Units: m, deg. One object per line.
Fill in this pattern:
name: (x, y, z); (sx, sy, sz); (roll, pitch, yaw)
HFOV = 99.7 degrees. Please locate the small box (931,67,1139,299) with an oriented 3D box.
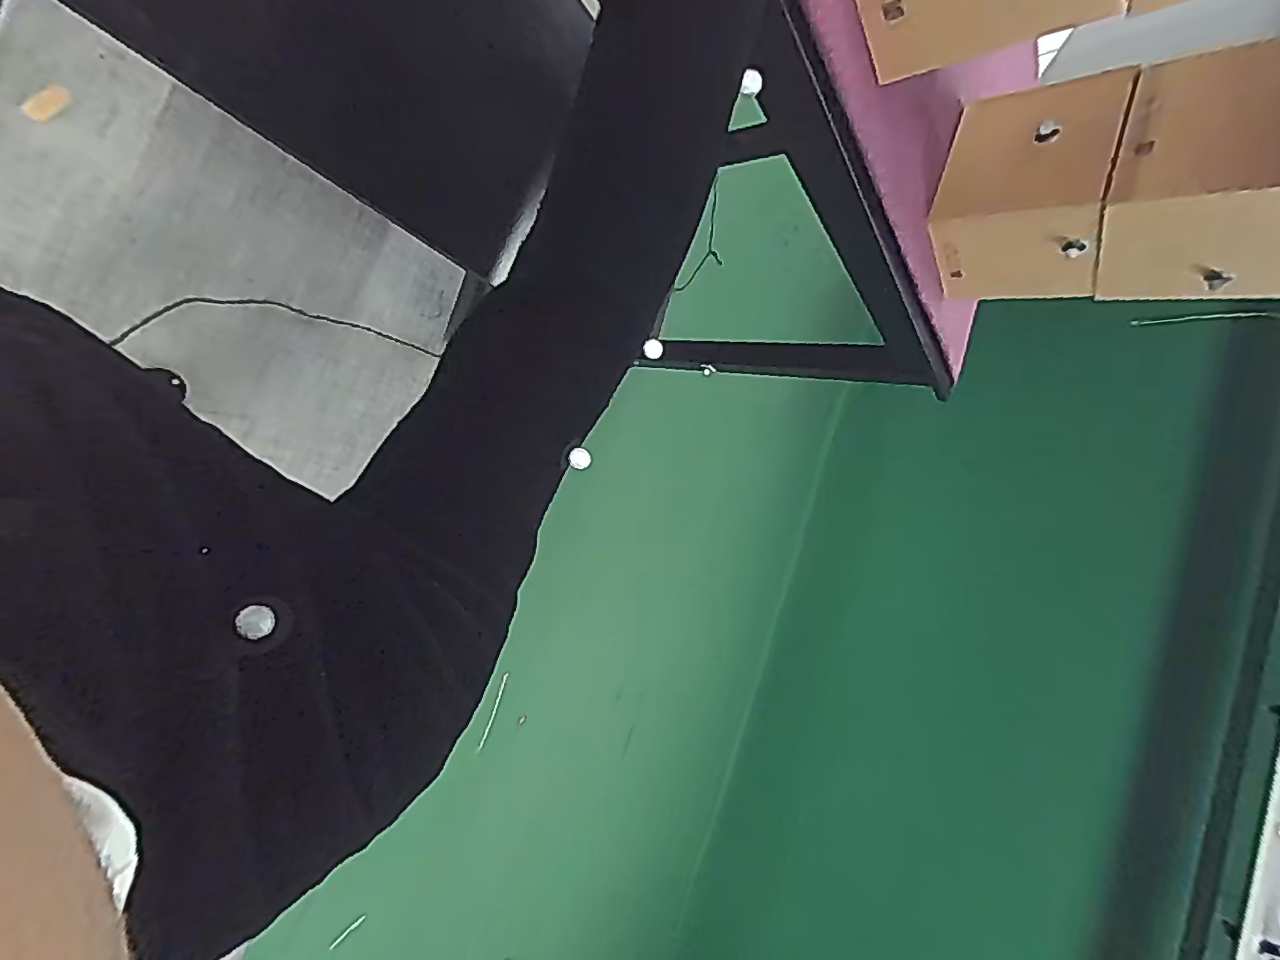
small box: (0.477, -0.345, 0.666); (0.168, 0.176, 0.179); (29, 78, -48)

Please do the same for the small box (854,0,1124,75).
small box: (0.251, -0.438, 0.373); (0.168, 0.176, 0.179); (28, 79, -49)
